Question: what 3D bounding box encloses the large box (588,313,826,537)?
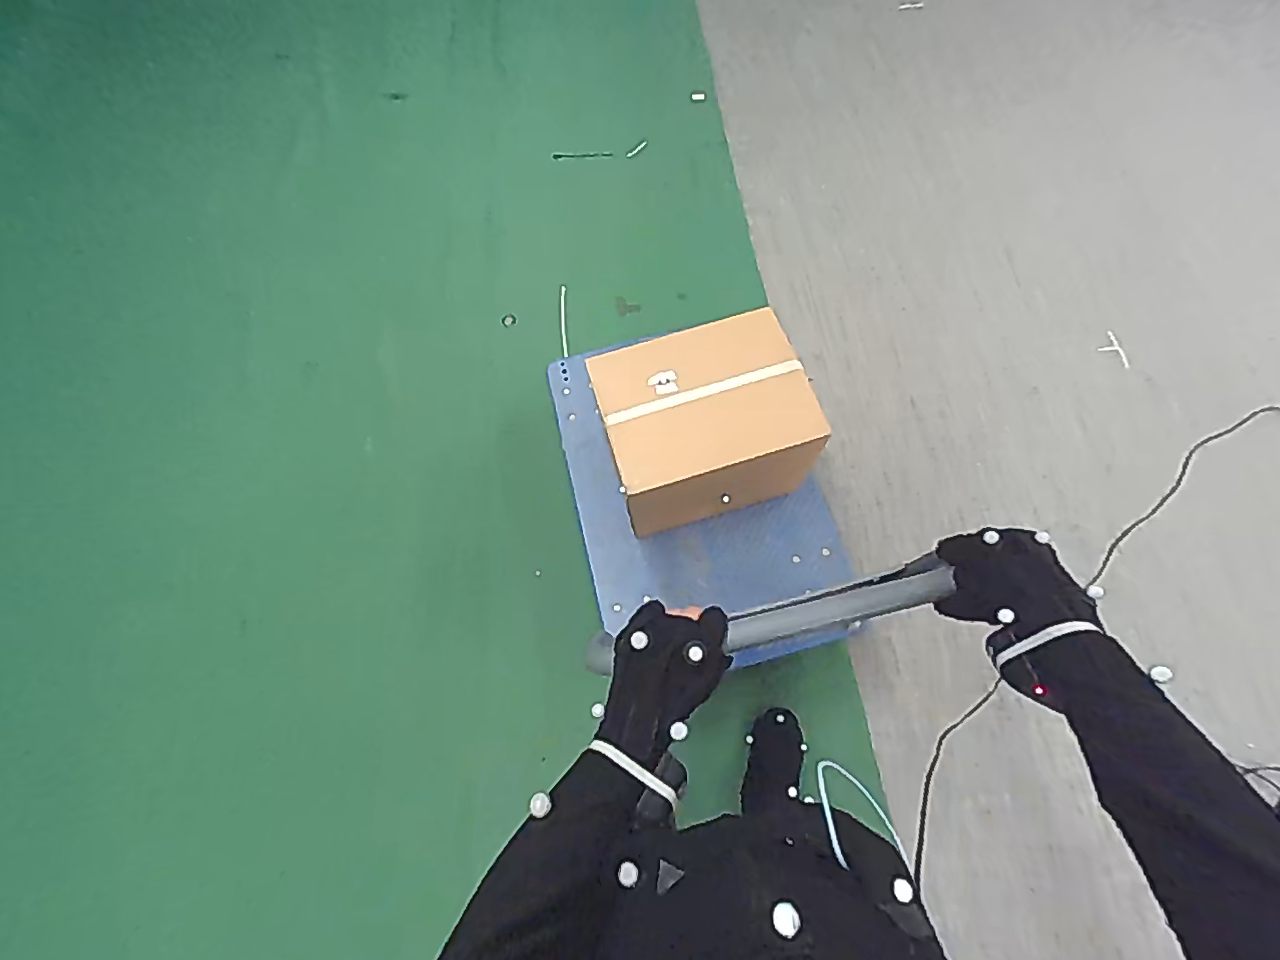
[{"bbox_3d":[0.135,-0.105,1.210,0.408,0.320,0.320,-18,69,-2],"label":"large box"}]
